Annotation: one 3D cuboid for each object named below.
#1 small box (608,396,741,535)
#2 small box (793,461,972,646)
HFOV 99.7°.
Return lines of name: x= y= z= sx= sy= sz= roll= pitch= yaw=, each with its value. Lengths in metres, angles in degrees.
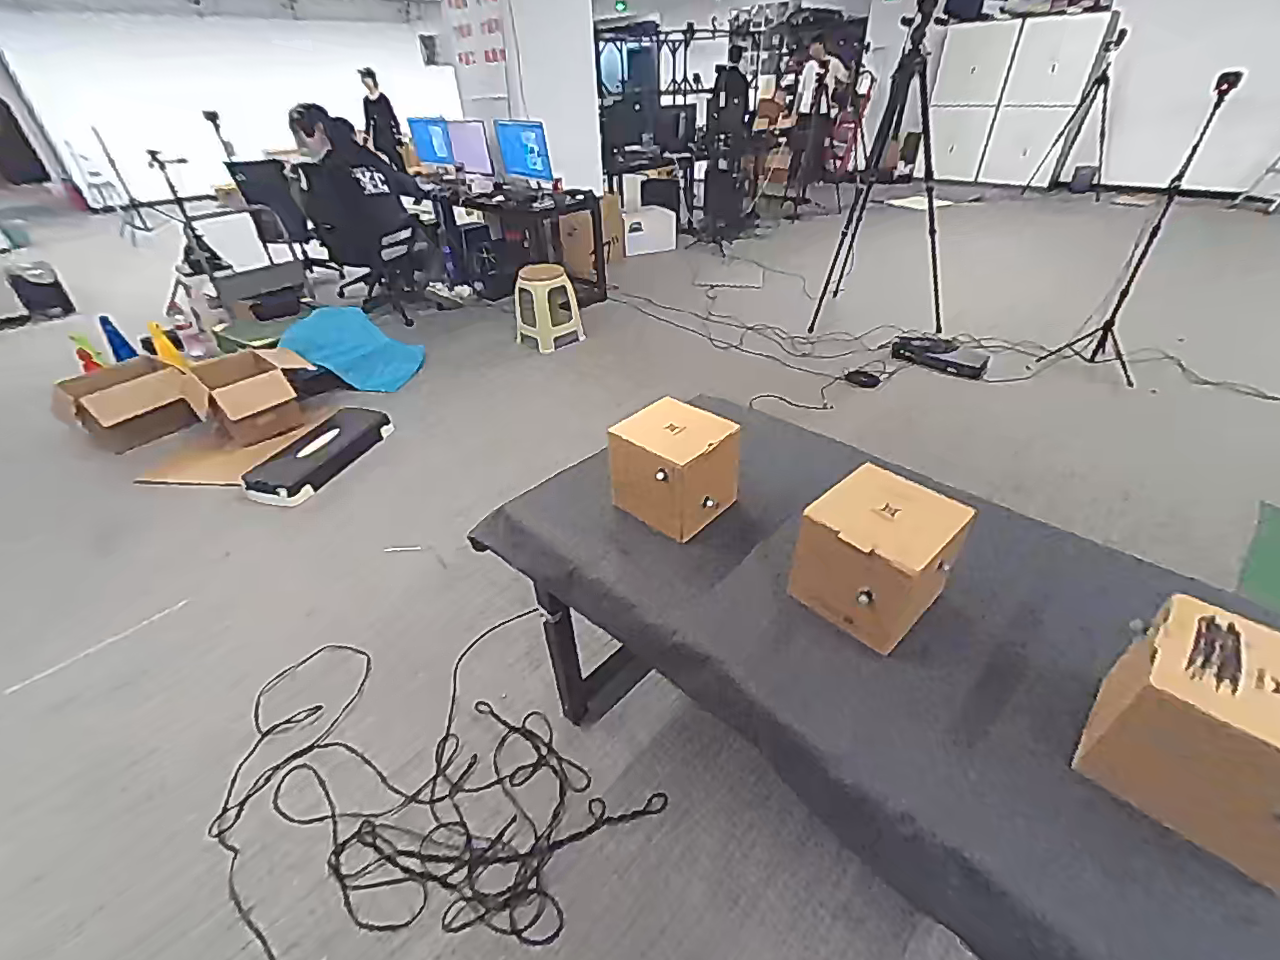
small box: x=0.061 y=-0.028 z=0.988 sx=0.179 sy=0.176 sz=0.168 roll=28 pitch=46 yaw=33
small box: x=0.343 y=0.105 z=0.792 sx=0.179 sy=0.176 sz=0.168 roll=-29 pitch=45 yaw=-33
